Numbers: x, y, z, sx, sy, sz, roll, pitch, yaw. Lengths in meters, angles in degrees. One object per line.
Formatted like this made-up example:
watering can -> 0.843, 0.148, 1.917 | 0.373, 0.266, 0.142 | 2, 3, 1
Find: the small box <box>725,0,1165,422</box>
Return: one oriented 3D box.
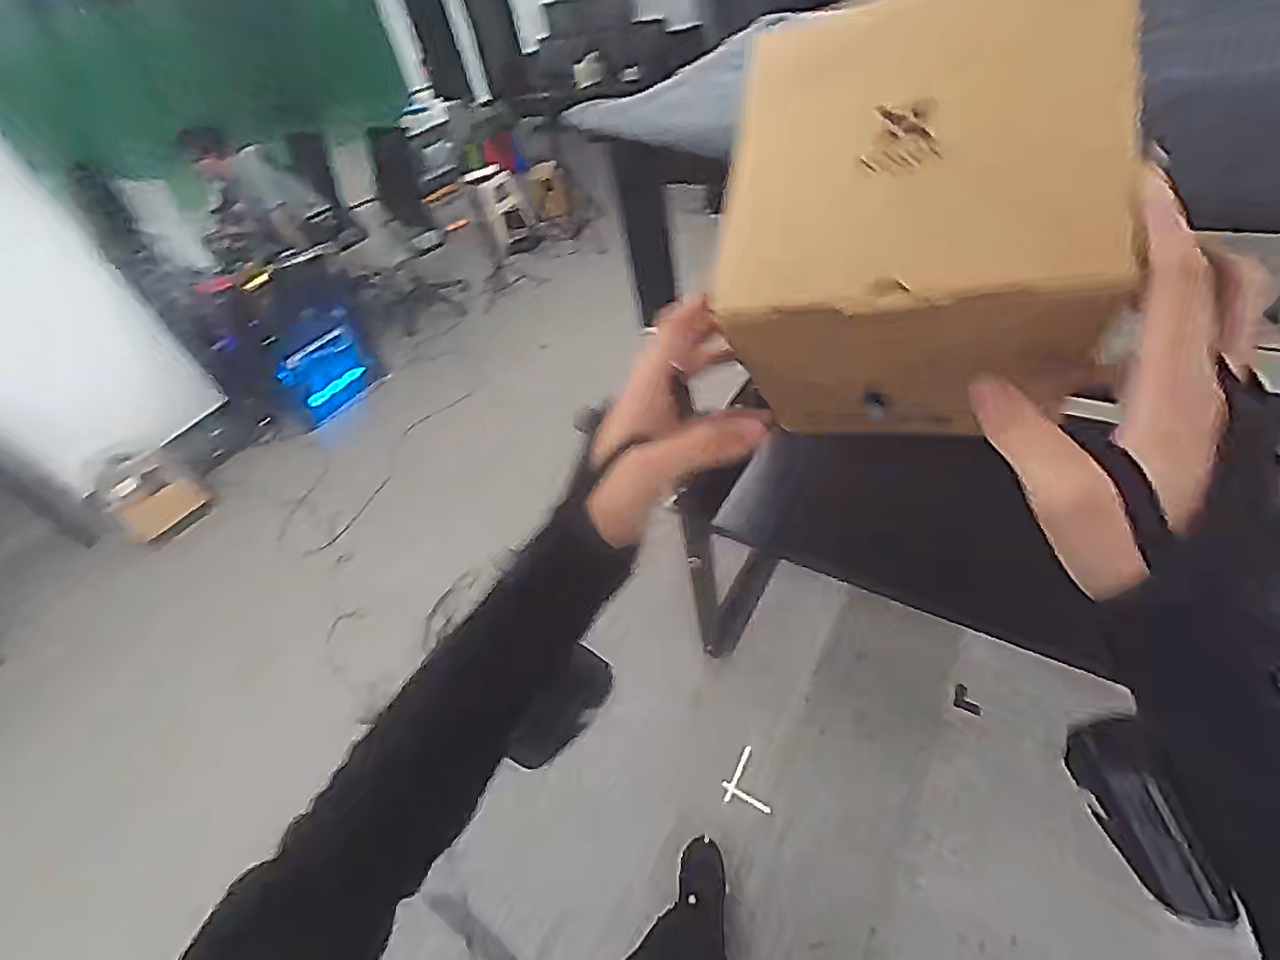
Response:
small box -> 0.163, -0.145, 0.312 | 0.168, 0.176, 0.179 | 4, 79, 29
